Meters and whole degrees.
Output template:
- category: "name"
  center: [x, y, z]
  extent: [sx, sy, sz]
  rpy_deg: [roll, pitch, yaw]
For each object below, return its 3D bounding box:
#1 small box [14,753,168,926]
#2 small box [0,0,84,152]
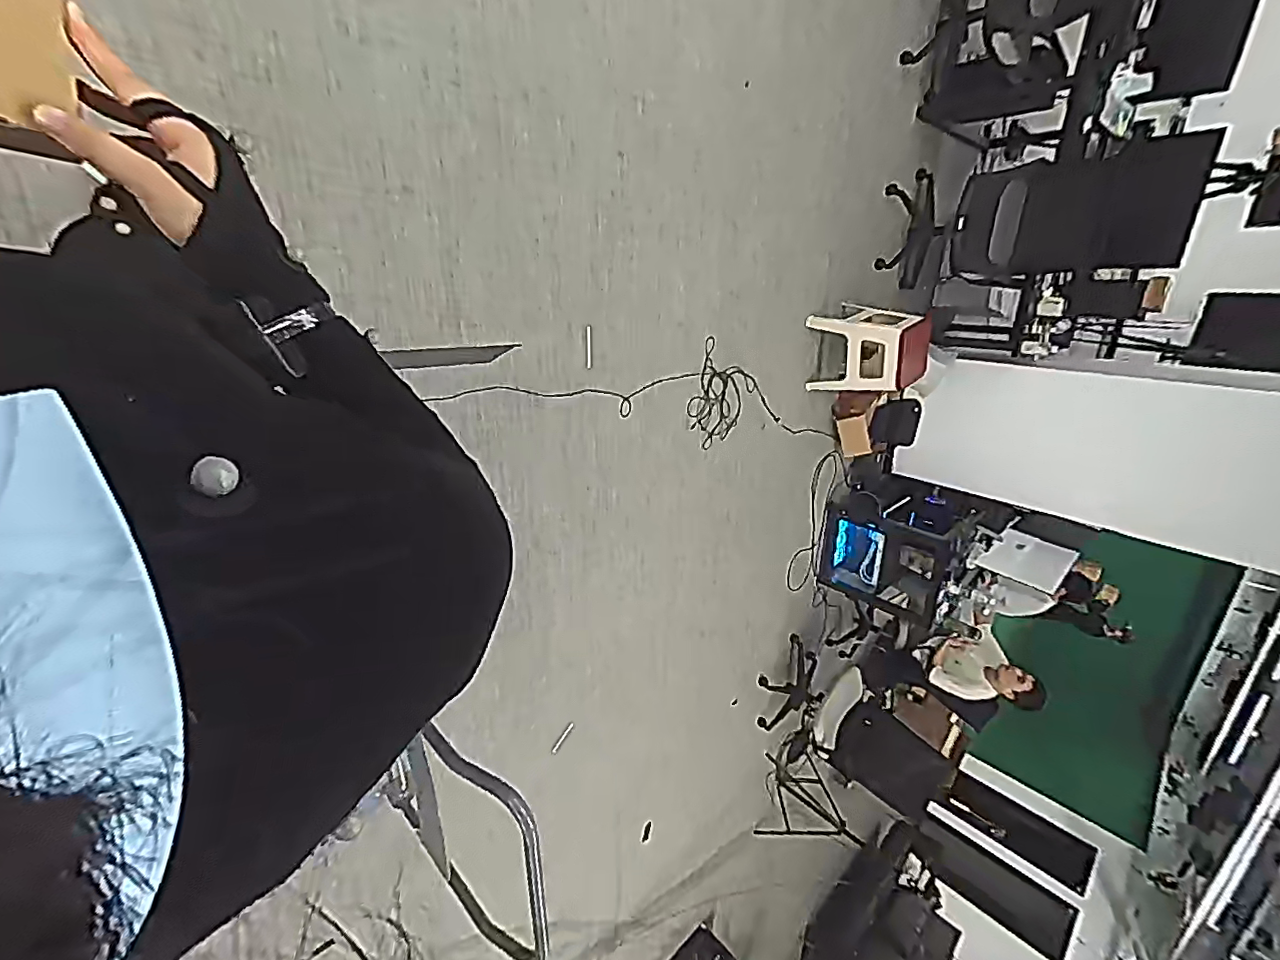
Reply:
- category: "small box"
  center: [-1.034, 0.671, 1.031]
  extent: [0.168, 0.176, 0.179]
  rpy_deg: [-19, 118, -40]
- category: "small box"
  center: [-0.437, -0.309, 0.298]
  extent: [0.168, 0.176, 0.179]
  rpy_deg: [-8, 113, -44]
